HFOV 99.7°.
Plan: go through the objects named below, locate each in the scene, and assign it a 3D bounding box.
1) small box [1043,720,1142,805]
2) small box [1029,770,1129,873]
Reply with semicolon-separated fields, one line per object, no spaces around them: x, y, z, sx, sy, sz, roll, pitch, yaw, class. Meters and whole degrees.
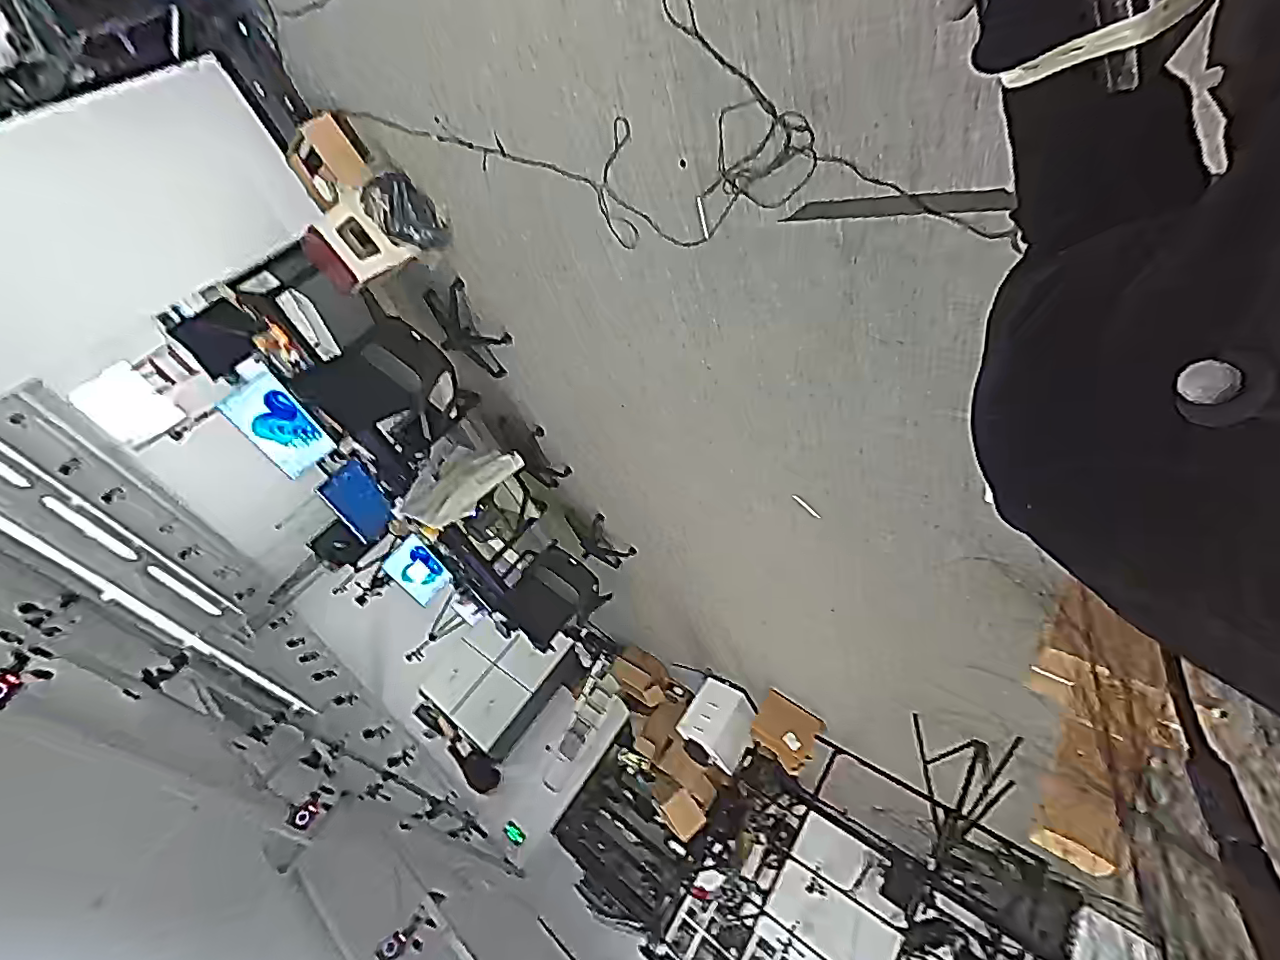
1.320;0.831;1.581;0.179;0.176;0.168;19;148;35;small box
1.230;0.953;1.516;0.168;0.176;0.179;21;149;33;small box
